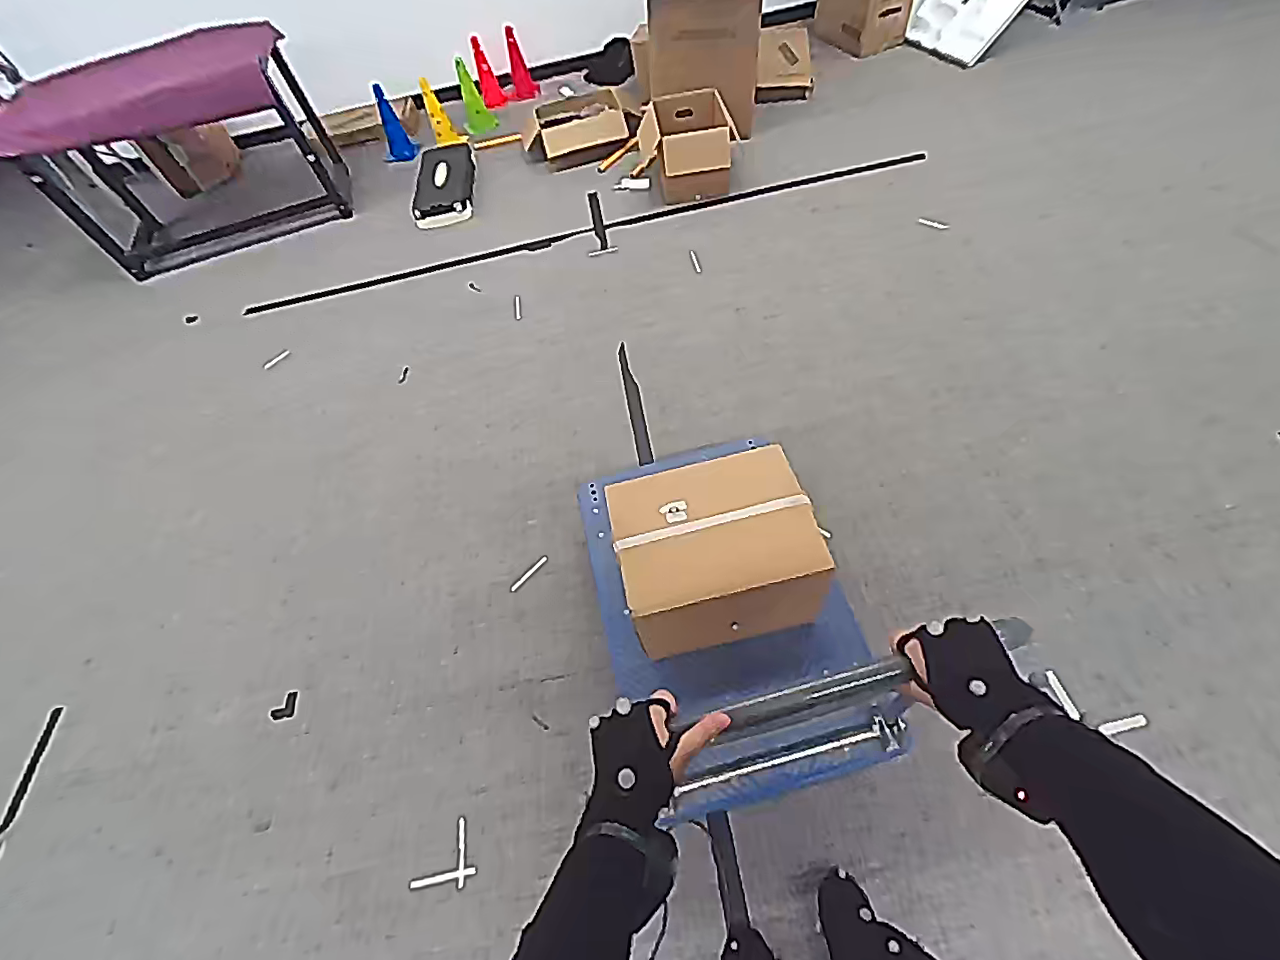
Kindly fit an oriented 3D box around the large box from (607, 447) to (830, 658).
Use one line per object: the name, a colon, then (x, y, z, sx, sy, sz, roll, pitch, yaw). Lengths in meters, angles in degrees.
large box: (0.170, 0.177, 1.251, 0.408, 0.320, 0.320, -15, 55, 0)
